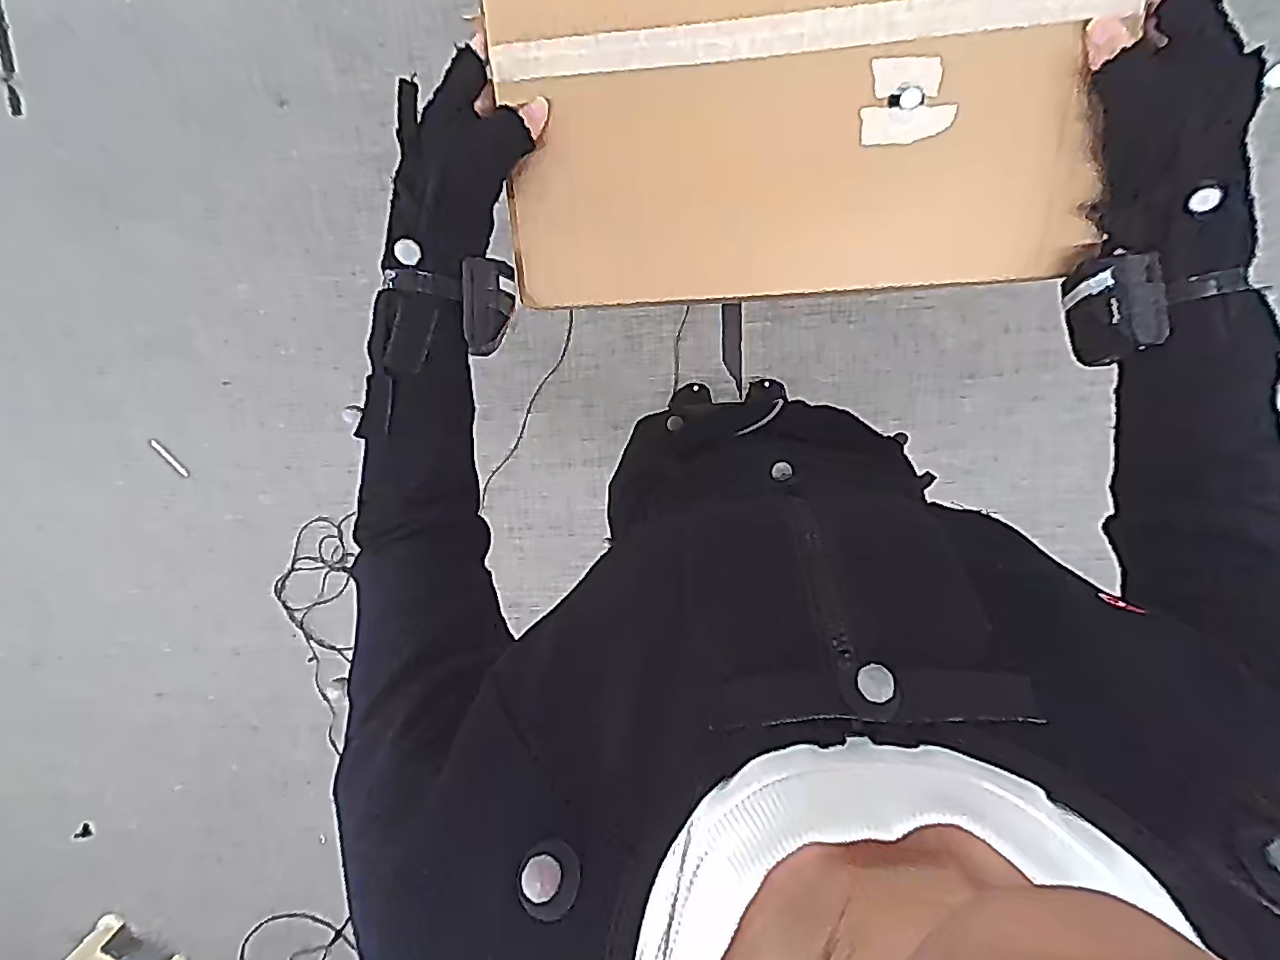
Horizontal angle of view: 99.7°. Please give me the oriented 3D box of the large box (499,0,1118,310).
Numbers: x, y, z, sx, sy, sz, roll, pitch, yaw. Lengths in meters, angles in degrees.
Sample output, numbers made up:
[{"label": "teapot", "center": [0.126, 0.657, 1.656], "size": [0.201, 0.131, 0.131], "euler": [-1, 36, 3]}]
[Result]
[{"label": "large box", "center": [0.113, -0.334, 0.501], "size": [0.408, 0.320, 0.320], "euler": [-2, 108, 5]}]
